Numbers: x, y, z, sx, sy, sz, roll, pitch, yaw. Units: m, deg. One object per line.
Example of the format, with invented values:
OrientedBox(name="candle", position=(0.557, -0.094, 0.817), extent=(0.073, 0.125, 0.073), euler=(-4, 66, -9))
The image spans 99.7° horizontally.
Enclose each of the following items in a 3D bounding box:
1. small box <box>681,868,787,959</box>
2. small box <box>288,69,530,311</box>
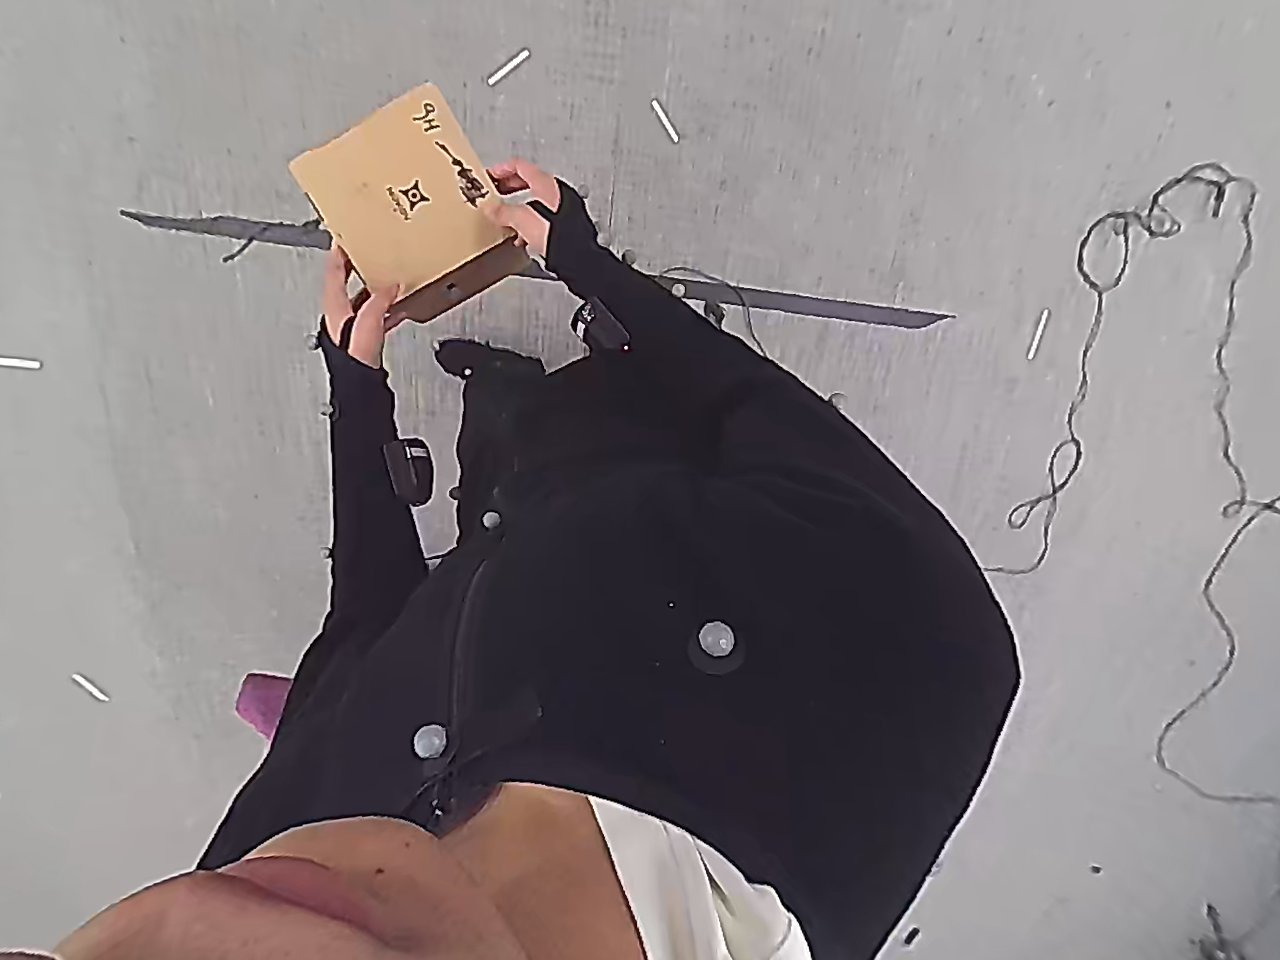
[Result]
OrientedBox(name="small box", position=(0.191, 0.973, 1.158), extent=(0.168, 0.176, 0.179), euler=(11, 109, -6))
OrientedBox(name="small box", position=(-0.246, -0.313, 0.630), extent=(0.179, 0.176, 0.168), euler=(-29, 104, 0))
